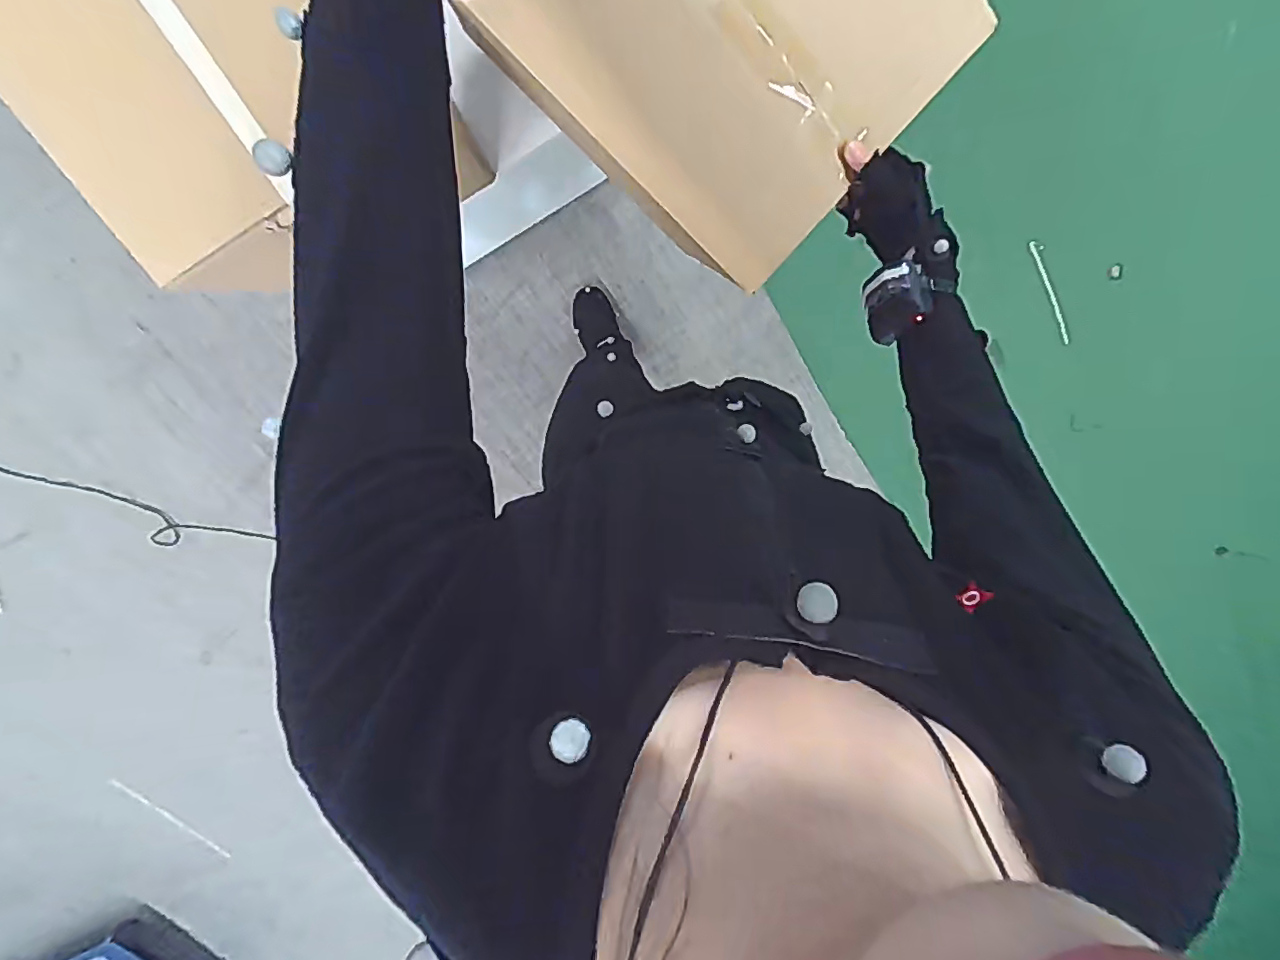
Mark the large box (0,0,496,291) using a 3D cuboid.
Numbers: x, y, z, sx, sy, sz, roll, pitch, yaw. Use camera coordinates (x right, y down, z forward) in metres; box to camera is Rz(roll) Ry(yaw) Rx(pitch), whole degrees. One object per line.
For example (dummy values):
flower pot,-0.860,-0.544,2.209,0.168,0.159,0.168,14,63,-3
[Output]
large box,-0.417,-0.462,0.571,0.320,0.320,0.408,-30,107,5
